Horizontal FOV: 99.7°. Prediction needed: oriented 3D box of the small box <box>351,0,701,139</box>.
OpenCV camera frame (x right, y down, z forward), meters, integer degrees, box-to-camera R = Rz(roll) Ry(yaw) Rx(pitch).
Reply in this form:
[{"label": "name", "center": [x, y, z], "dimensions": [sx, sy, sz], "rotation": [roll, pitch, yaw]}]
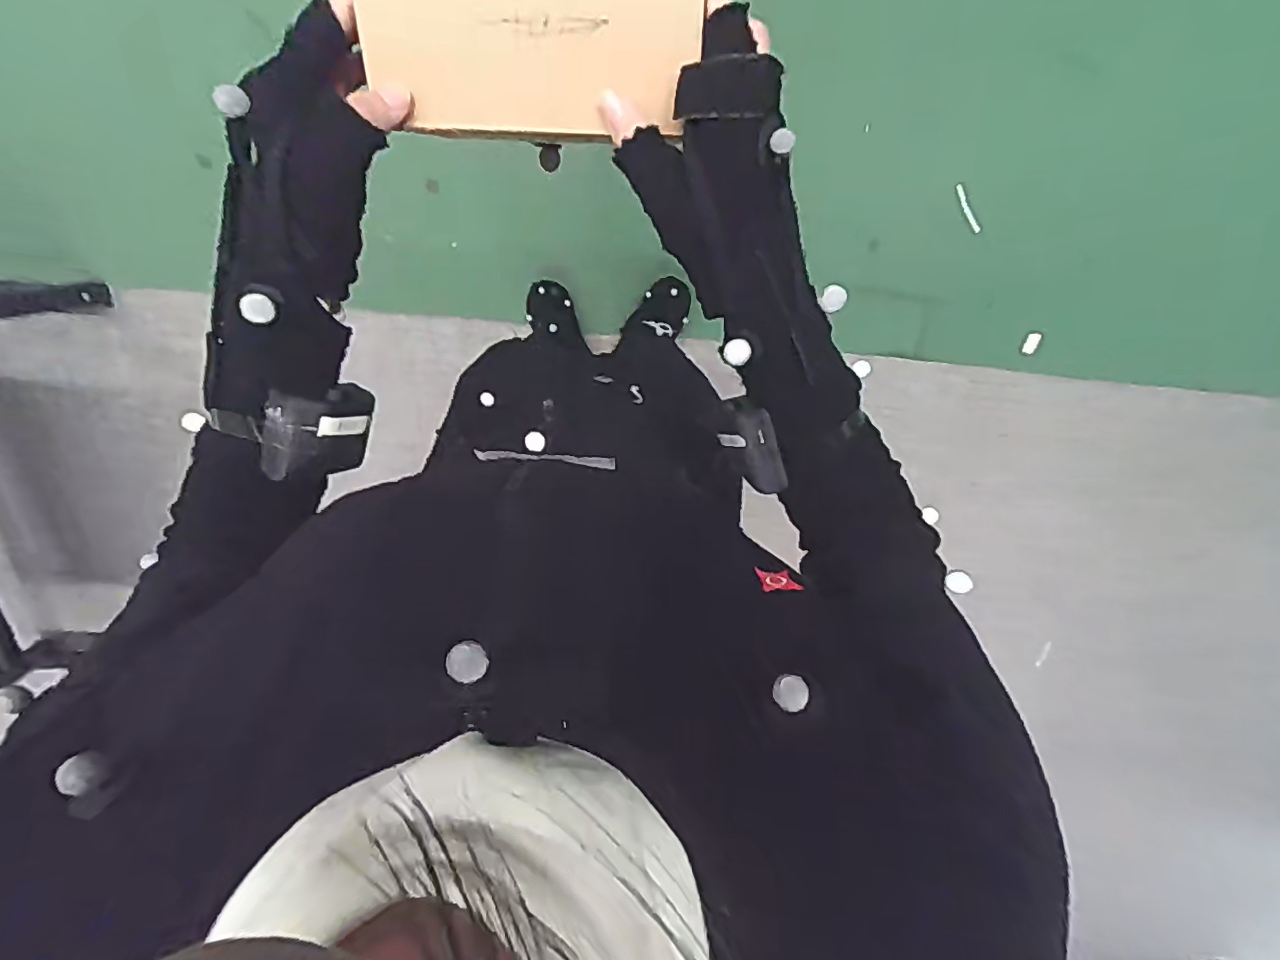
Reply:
[{"label": "small box", "center": [-0.052, -0.299, 0.301], "dimensions": [0.168, 0.176, 0.179], "rotation": [1, 121, -1]}]
